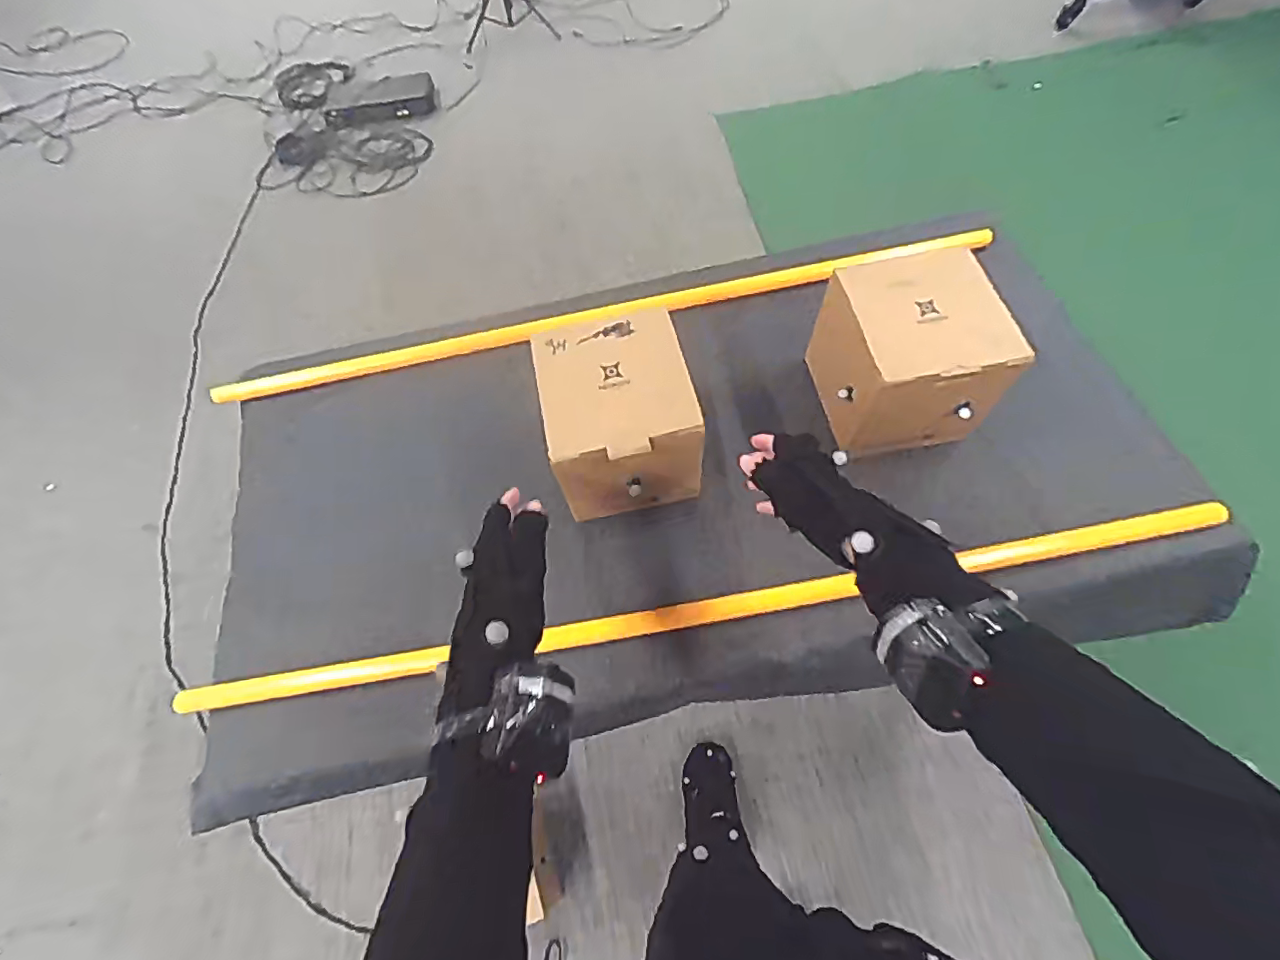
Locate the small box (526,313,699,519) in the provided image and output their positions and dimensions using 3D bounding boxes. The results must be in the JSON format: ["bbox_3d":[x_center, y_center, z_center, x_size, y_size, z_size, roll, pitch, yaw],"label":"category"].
[{"bbox_3d":[-0.027,-0.066,0.668,0.168,0.176,0.179,-16,62,-2],"label":"small box"}]

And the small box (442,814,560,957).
[{"bbox_3d":[-0.270,0.783,1.070,0.168,0.176,0.179,-19,64,-5],"label":"small box"}]

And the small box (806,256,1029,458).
[{"bbox_3d":[0.326,-0.142,0.679,0.168,0.176,0.179,-11,62,-1],"label":"small box"}]
